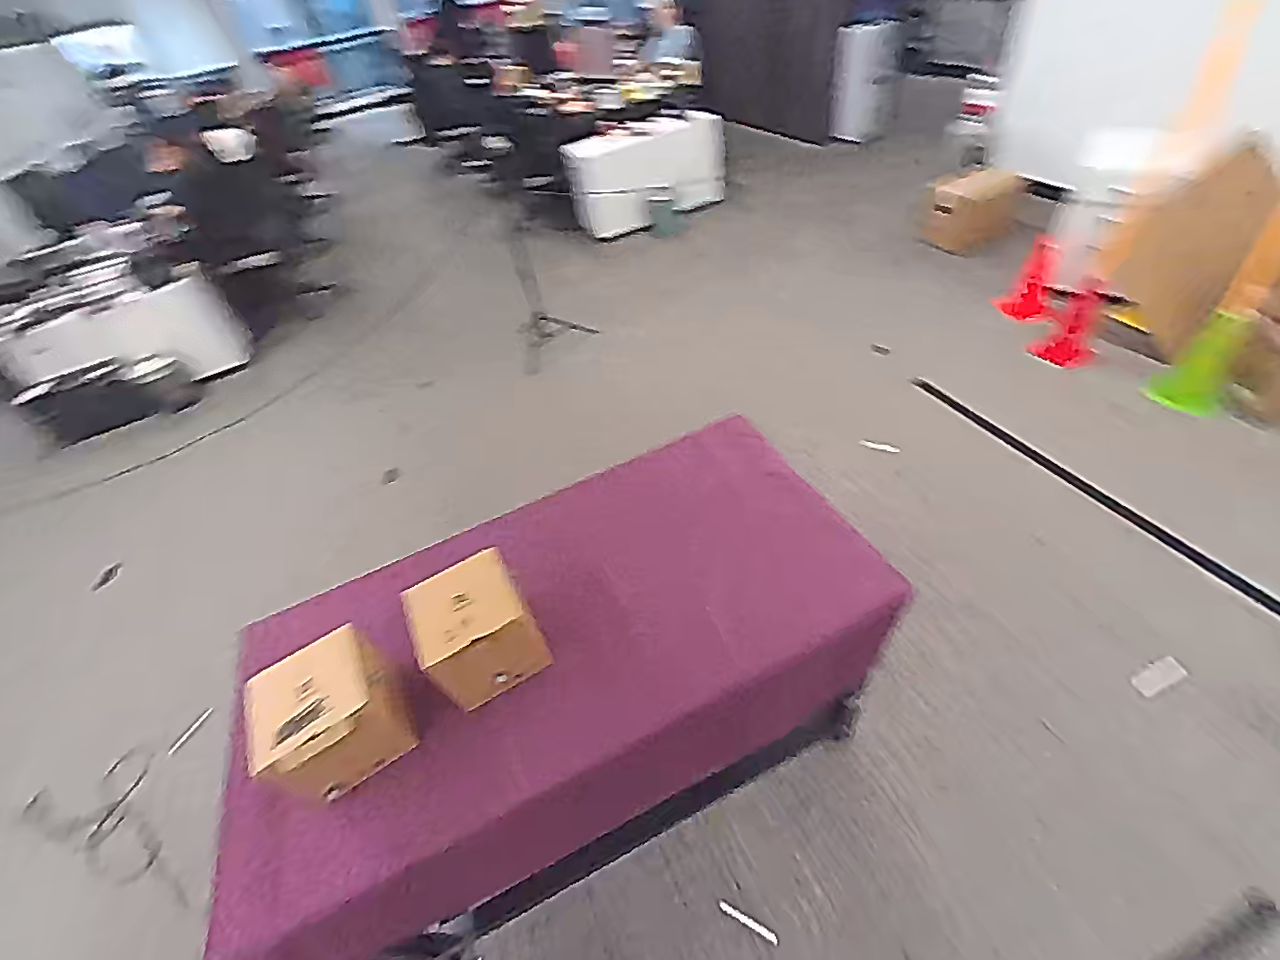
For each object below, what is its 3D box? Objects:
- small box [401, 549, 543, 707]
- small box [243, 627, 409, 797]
[{"bbox_3d":[-0.293,0.263,0.957,0.168,0.176,0.179,-28,47,-14],"label":"small box"},{"bbox_3d":[-0.507,0.386,0.886,0.168,0.176,0.179,-30,46,-17],"label":"small box"}]
